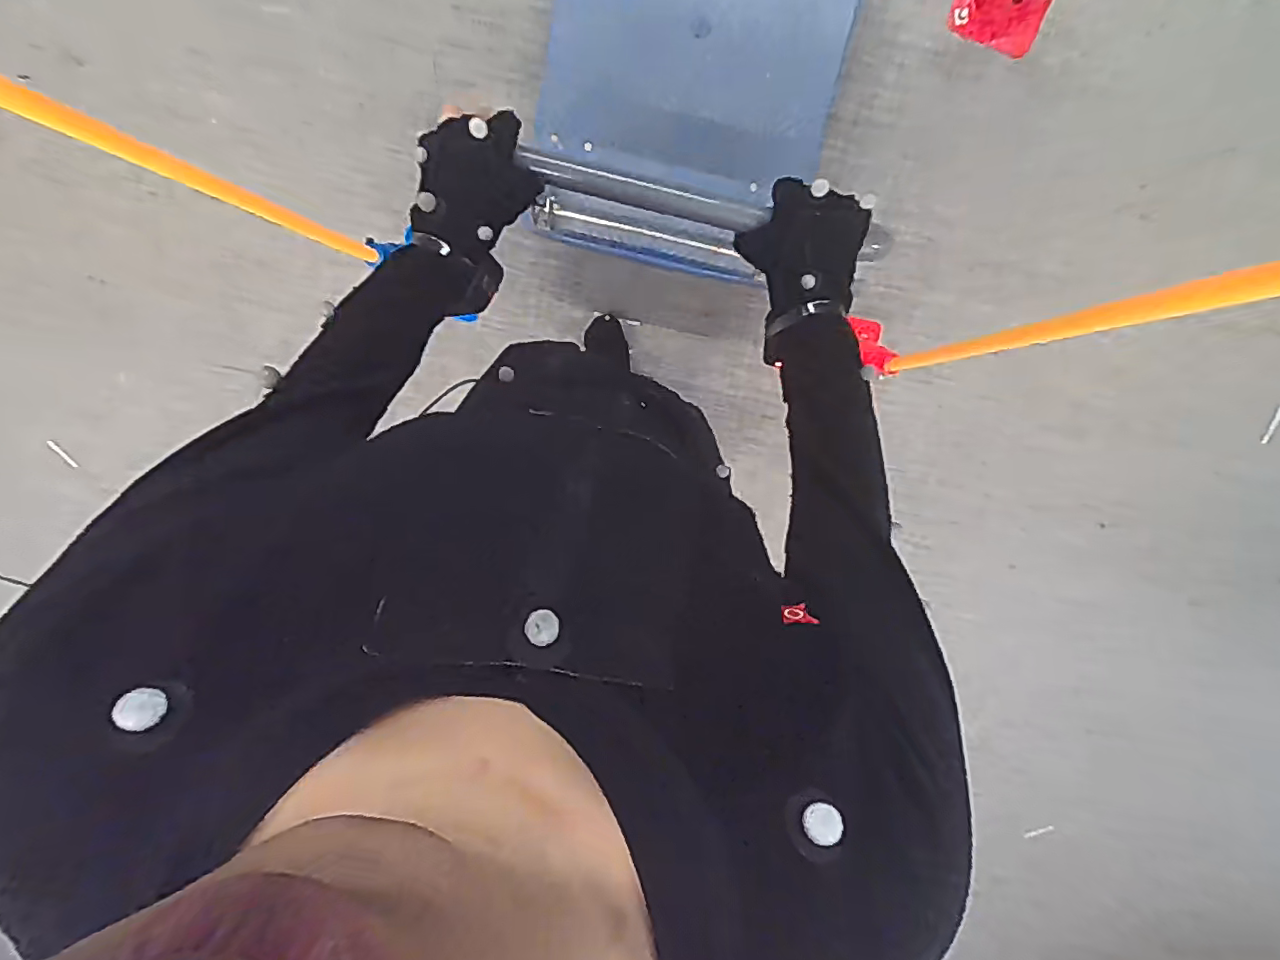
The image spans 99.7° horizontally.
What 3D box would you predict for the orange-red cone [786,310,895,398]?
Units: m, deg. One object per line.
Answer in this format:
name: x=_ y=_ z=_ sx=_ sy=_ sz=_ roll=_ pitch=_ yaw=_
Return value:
orange-red cone: x=0.487 y=-0.280 z=1.233 sx=0.199 sy=0.360 sz=0.198 roll=12 pitch=105 yaw=-1
